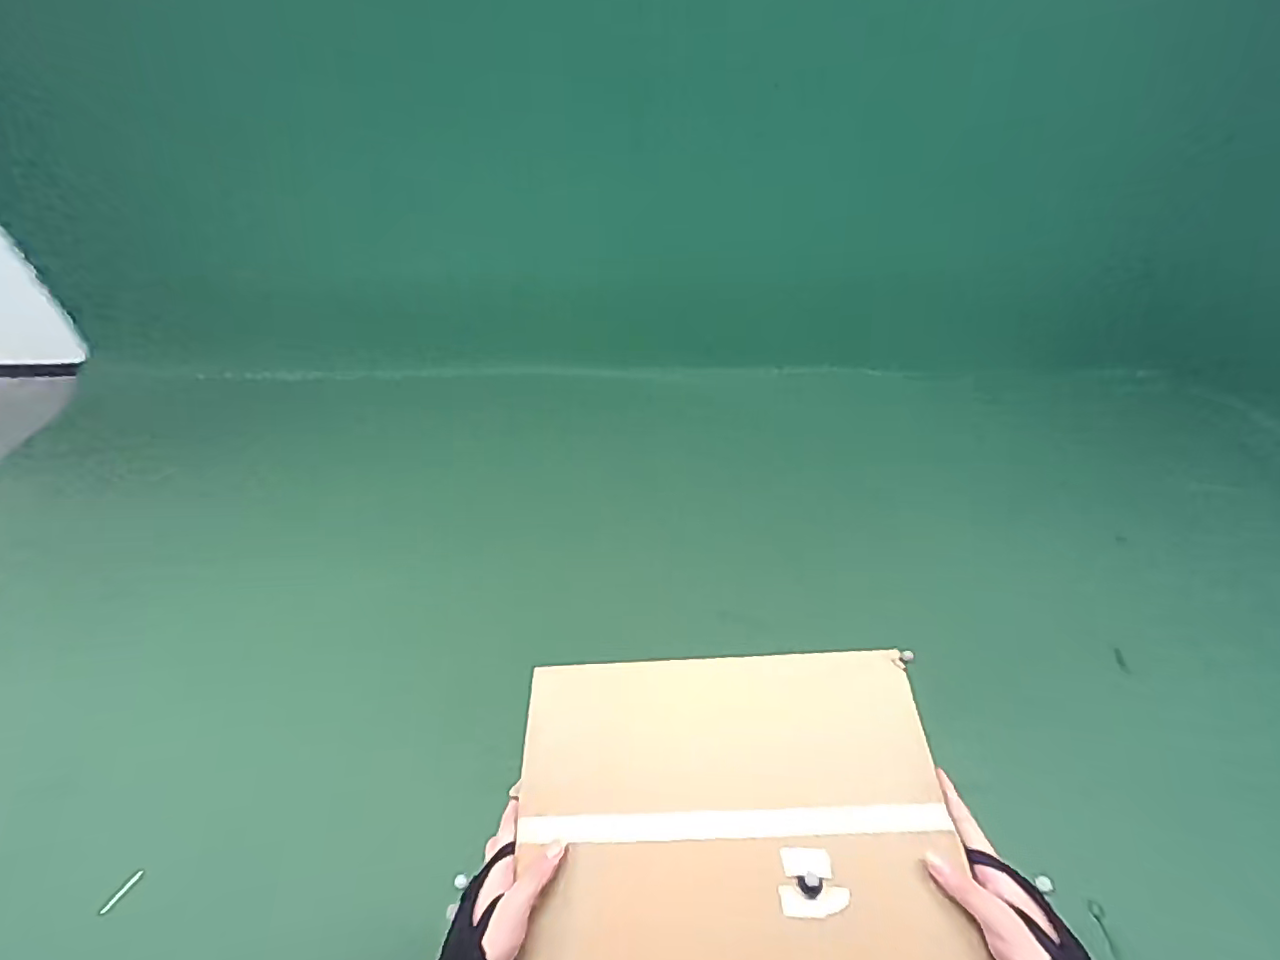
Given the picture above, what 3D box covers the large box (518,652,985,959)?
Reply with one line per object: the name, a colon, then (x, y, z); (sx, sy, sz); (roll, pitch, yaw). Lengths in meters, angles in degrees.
large box: (0.099, 0.420, 0.639); (0.408, 0.320, 0.320); (-4, 53, 4)
